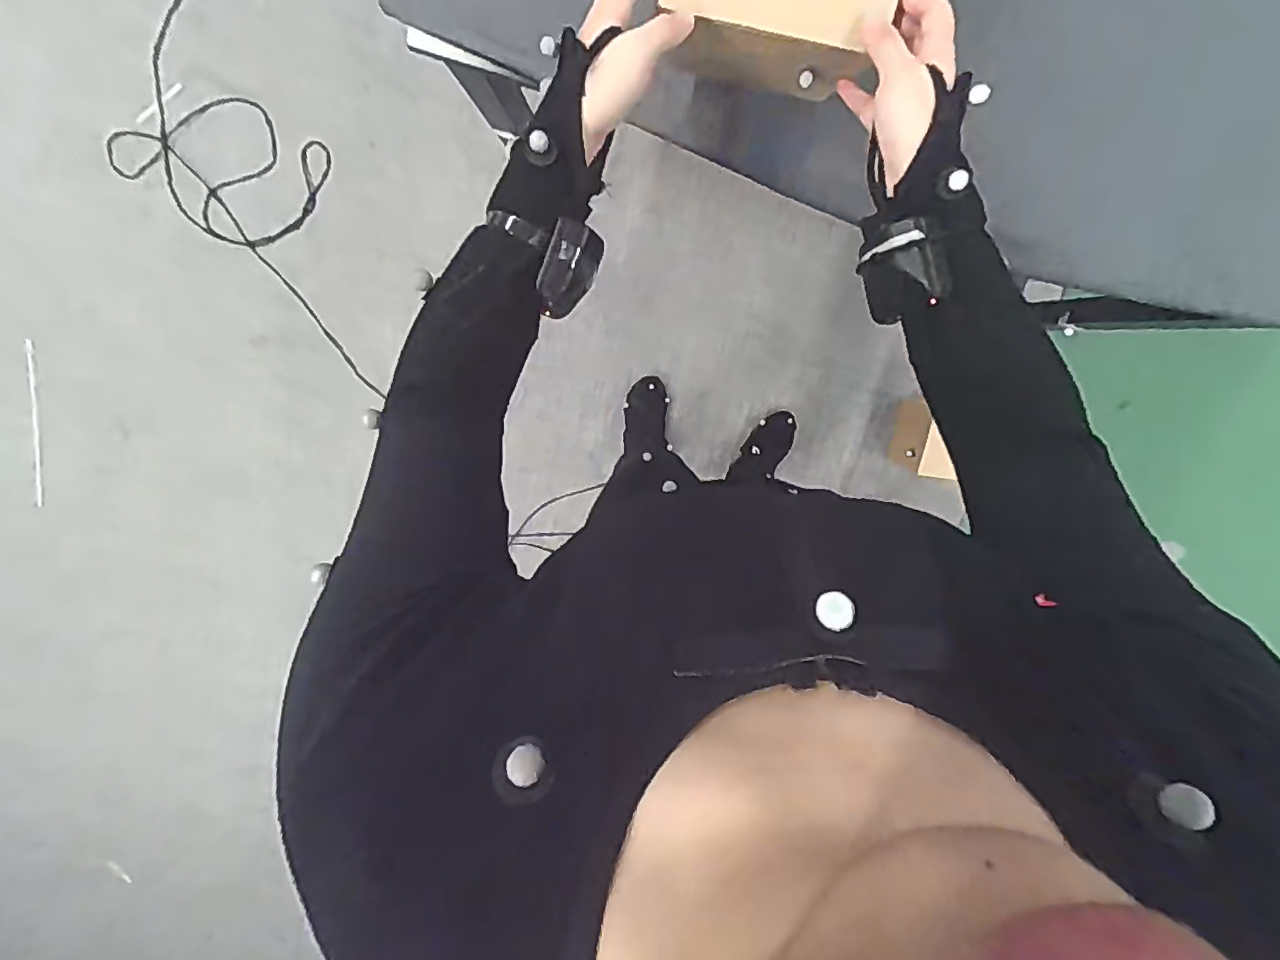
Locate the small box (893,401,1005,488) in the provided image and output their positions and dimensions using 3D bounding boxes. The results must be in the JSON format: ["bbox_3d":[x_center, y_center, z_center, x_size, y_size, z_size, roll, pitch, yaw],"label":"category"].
[{"bbox_3d":[0.769,-0.094,1.367,0.168,0.176,0.179,7,105,-2],"label":"small box"}]
